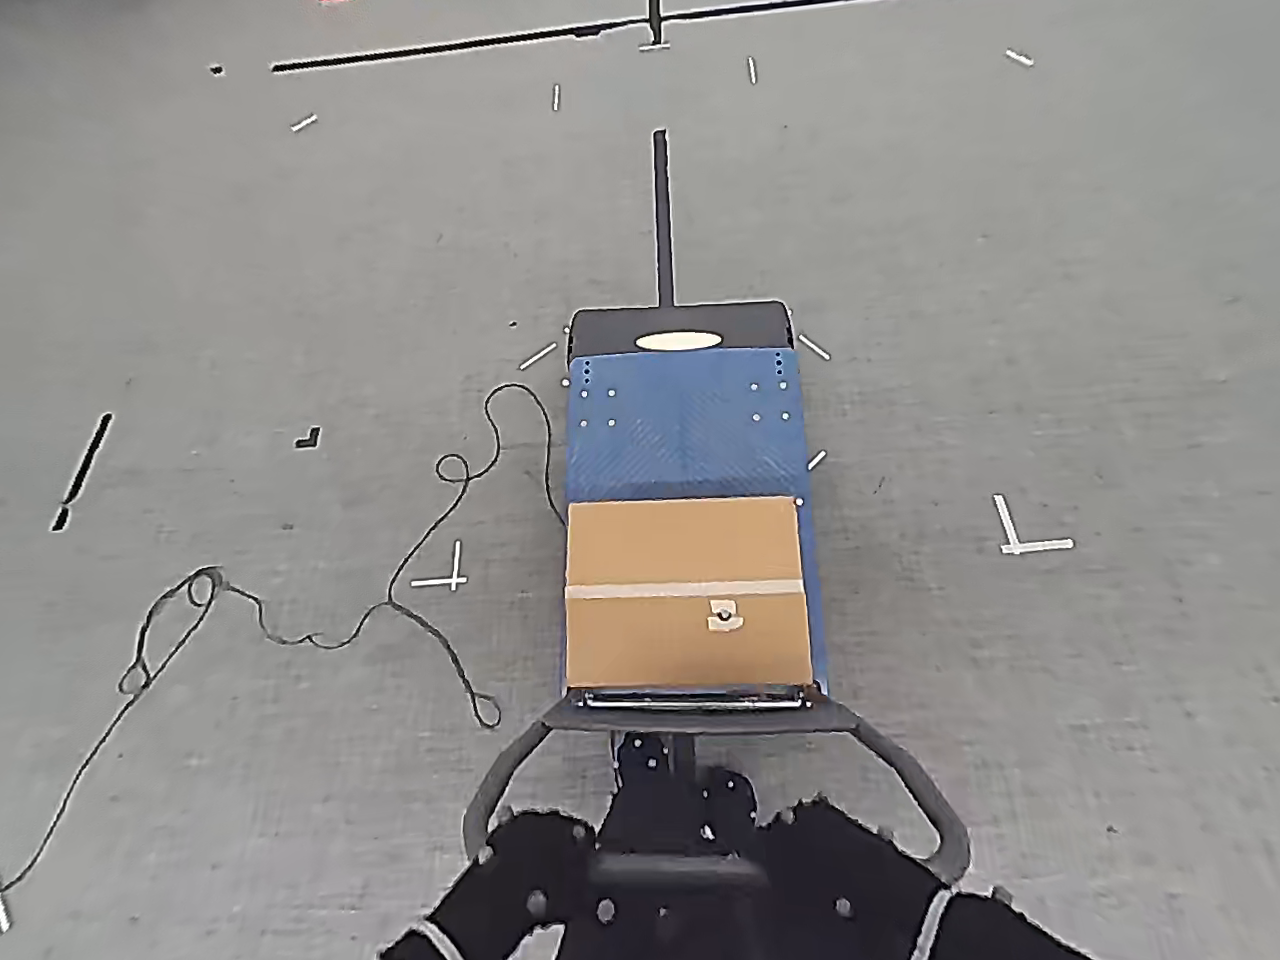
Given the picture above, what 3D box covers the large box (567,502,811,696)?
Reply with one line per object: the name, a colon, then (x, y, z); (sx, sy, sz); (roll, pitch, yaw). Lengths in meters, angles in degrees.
large box: (0.081, 0.233, 1.058); (0.408, 0.320, 0.320); (-2, 76, 3)
